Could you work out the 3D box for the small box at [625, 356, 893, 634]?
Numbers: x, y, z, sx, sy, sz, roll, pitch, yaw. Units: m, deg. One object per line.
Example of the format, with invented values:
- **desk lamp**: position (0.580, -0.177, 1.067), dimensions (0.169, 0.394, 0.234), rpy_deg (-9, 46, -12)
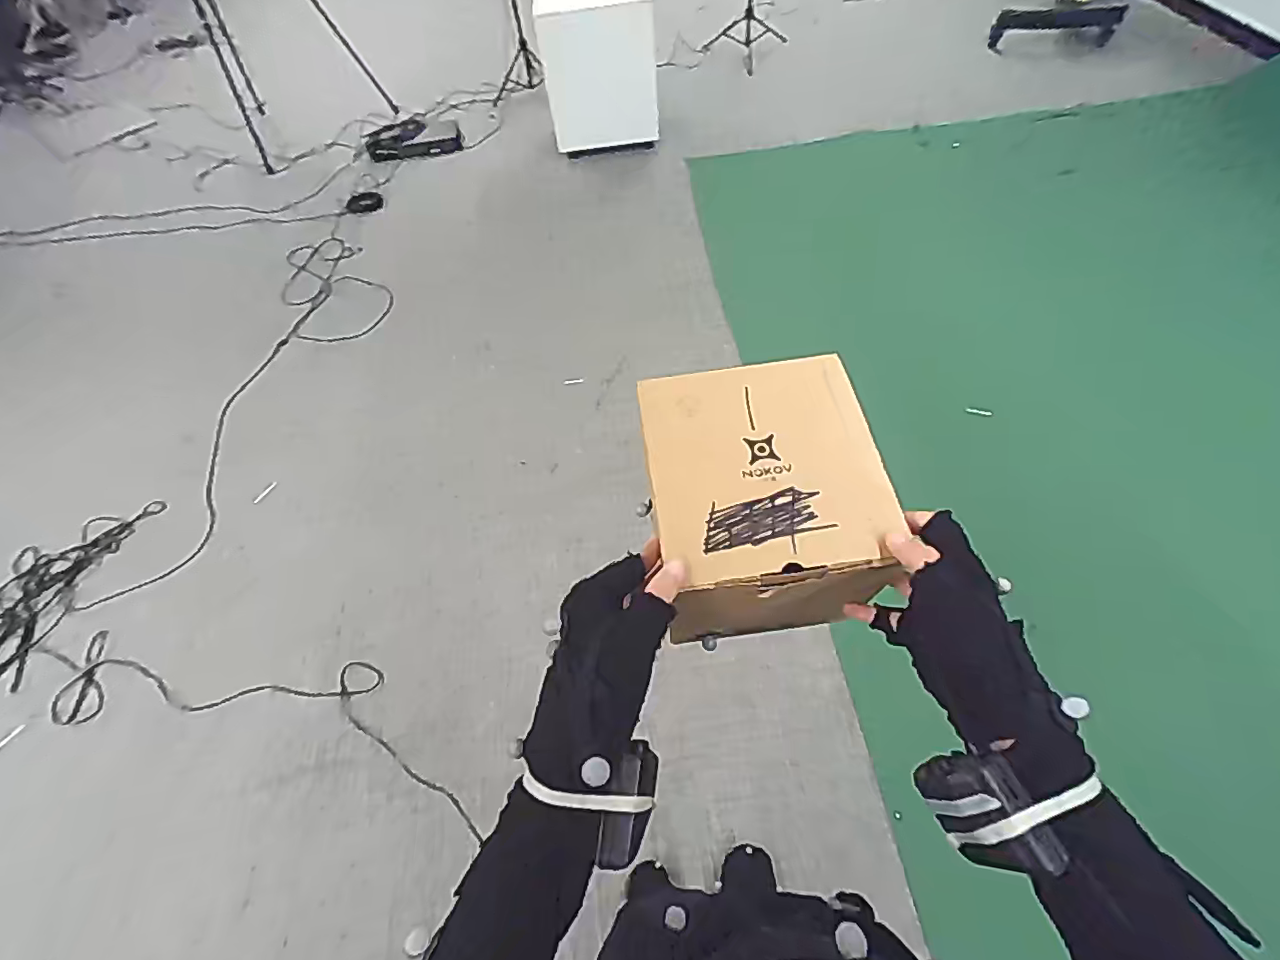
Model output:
- **small box**: position (0.083, 0.024, 0.461), dimensions (0.168, 0.176, 0.179), rpy_deg (-7, 60, 0)
